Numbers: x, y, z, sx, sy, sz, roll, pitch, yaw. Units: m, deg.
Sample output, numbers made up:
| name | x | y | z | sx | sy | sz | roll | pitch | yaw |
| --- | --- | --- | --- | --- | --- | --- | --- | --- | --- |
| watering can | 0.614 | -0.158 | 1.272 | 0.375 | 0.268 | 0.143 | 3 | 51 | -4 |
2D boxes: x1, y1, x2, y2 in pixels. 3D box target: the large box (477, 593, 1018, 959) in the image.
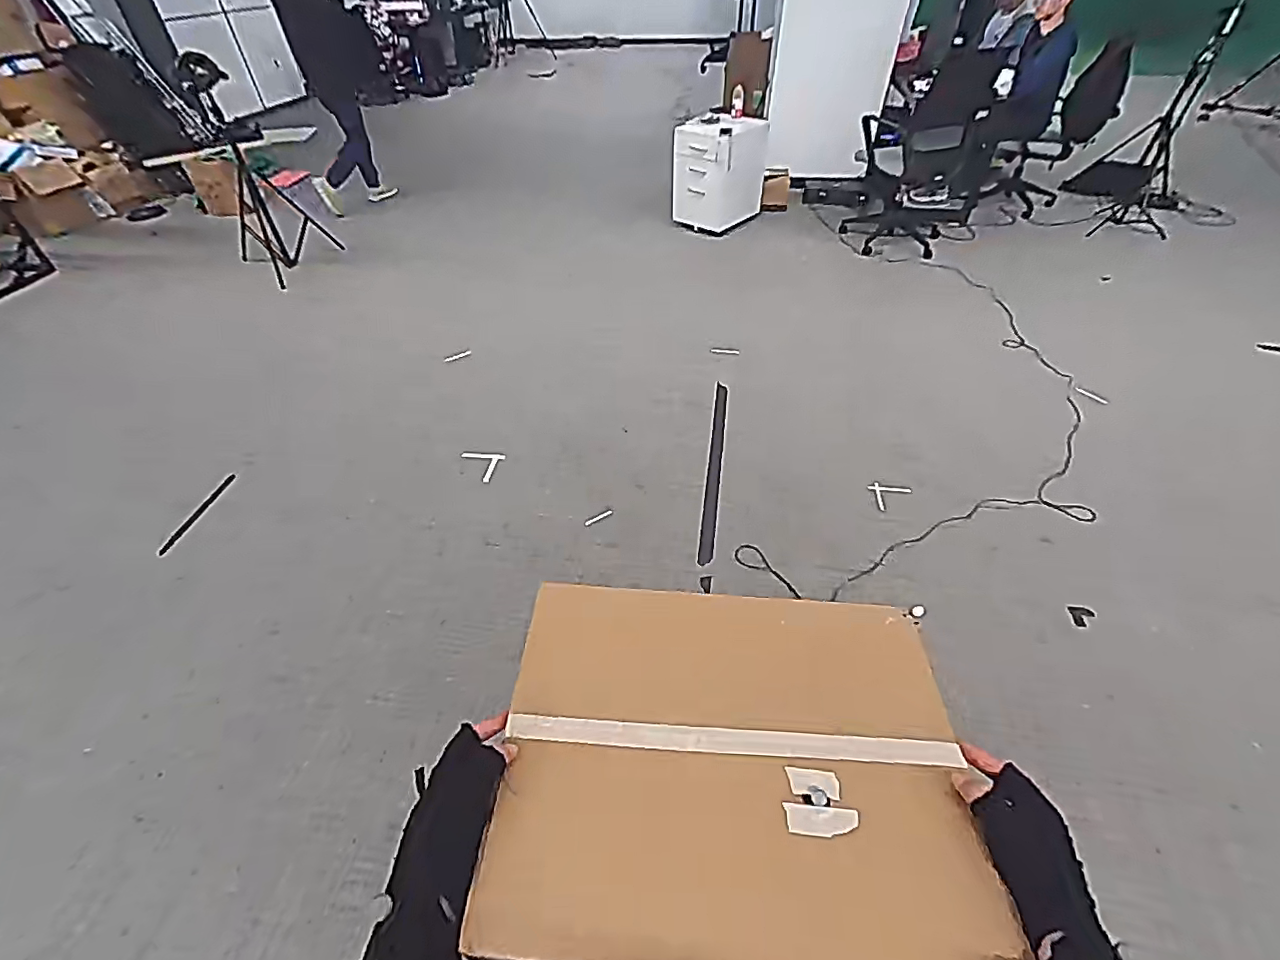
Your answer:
| name | x | y | z | sx | sy | sz | roll | pitch | yaw |
| --- | --- | --- | --- | --- | --- | --- | --- | --- | --- |
| large box | 0.078 | 0.349 | 0.597 | 0.408 | 0.320 | 0.320 | 4 | 44 | 1 |
